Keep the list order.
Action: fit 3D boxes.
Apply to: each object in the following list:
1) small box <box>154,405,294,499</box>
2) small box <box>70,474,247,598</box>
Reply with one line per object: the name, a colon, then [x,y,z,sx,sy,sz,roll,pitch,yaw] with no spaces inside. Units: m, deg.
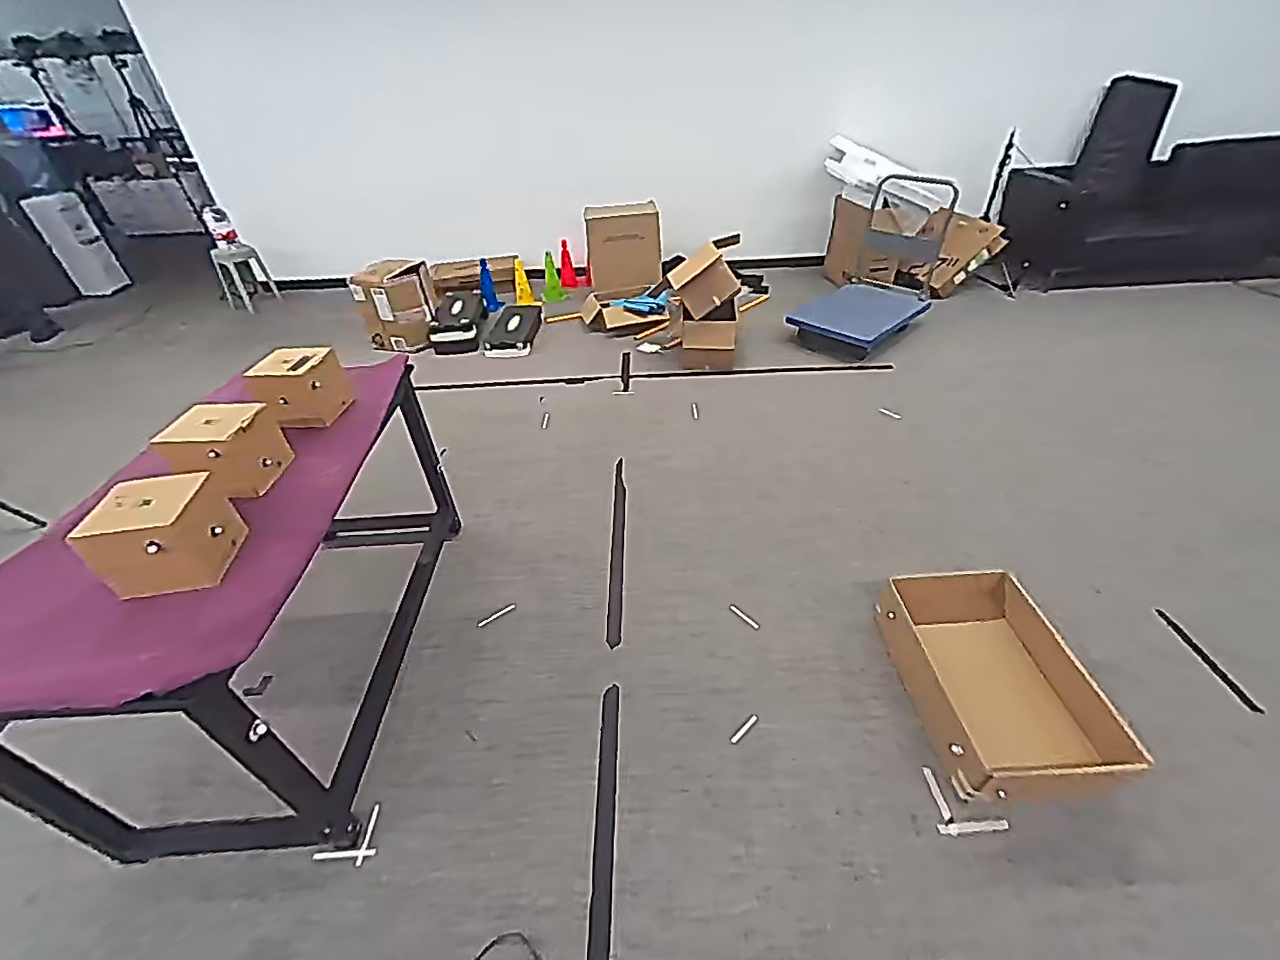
small box: [-0.990,-0.065,1.306,0.179,0.176,0.168,-1,38,1]
small box: [-0.933,0.112,1.073,0.179,0.176,0.168,-8,38,-6]
